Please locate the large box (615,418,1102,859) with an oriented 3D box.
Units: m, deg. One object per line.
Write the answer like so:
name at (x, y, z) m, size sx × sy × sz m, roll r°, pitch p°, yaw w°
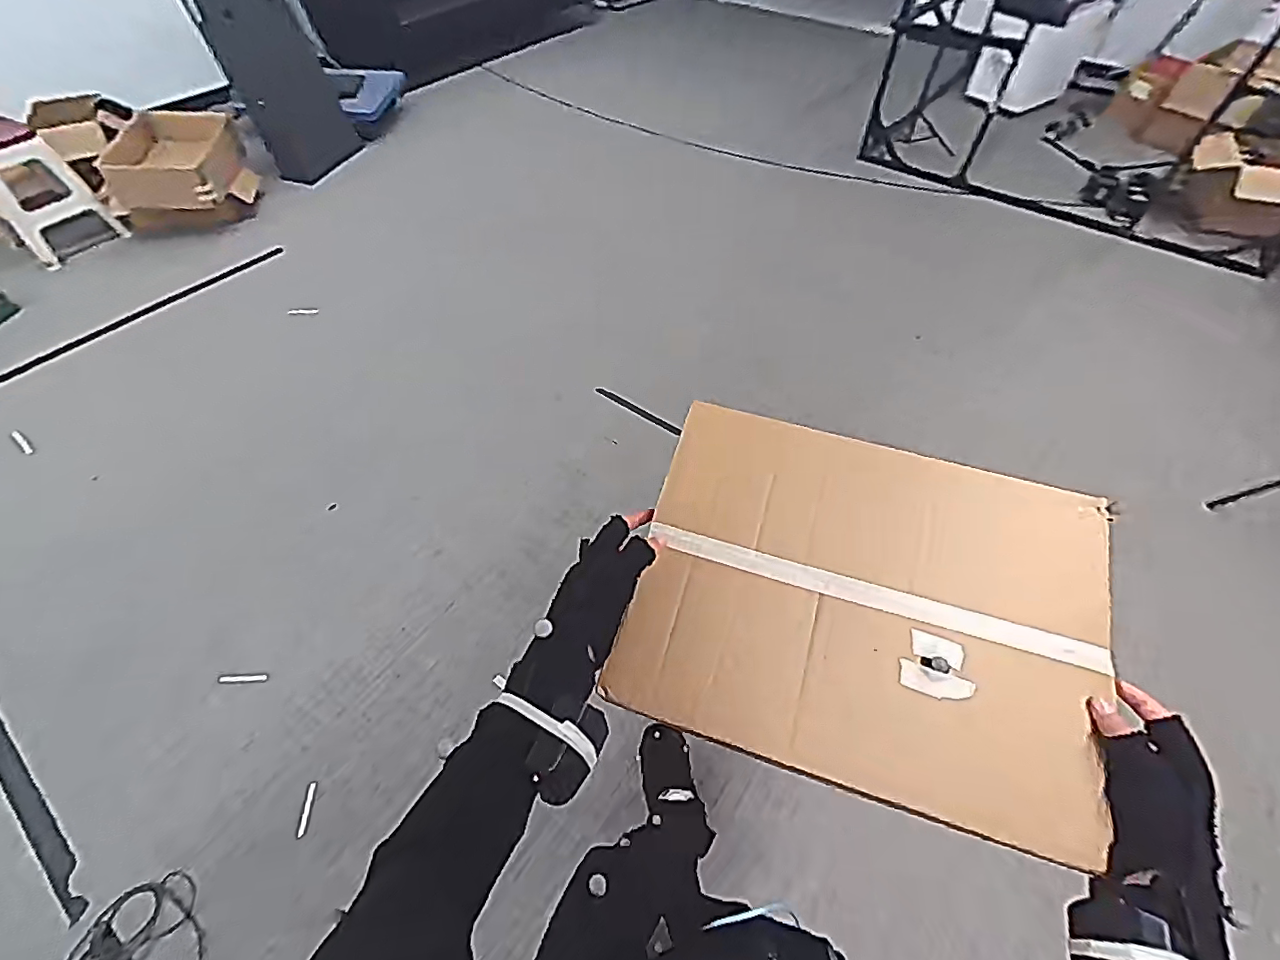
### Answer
large box at (0.215, 0.173, 0.637) m, size 0.408 × 0.320 × 0.320 m, roll 16°, pitch 68°, yaw 10°
